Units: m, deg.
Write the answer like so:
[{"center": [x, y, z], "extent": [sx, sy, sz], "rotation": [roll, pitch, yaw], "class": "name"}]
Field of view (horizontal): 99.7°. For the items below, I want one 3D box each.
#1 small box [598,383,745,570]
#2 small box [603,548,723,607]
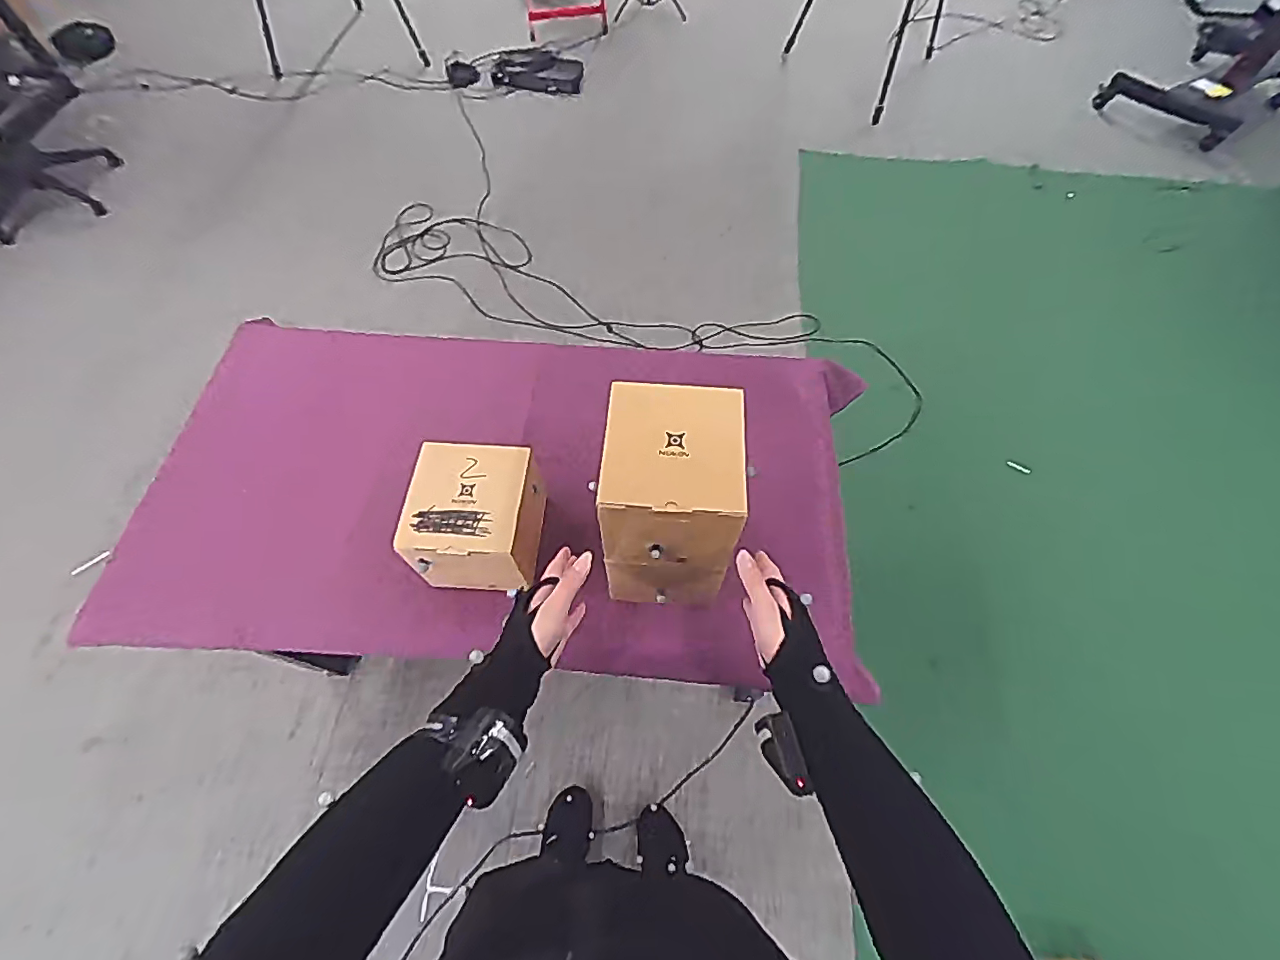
[{"center": [0.038, 0.000, 0.698], "extent": [0.168, 0.176, 0.179], "rotation": [4, 61, 1], "class": "small box"}, {"center": [0.036, 0.082, 0.838], "extent": [0.168, 0.176, 0.179], "rotation": [4, 61, 2], "class": "small box"}]
